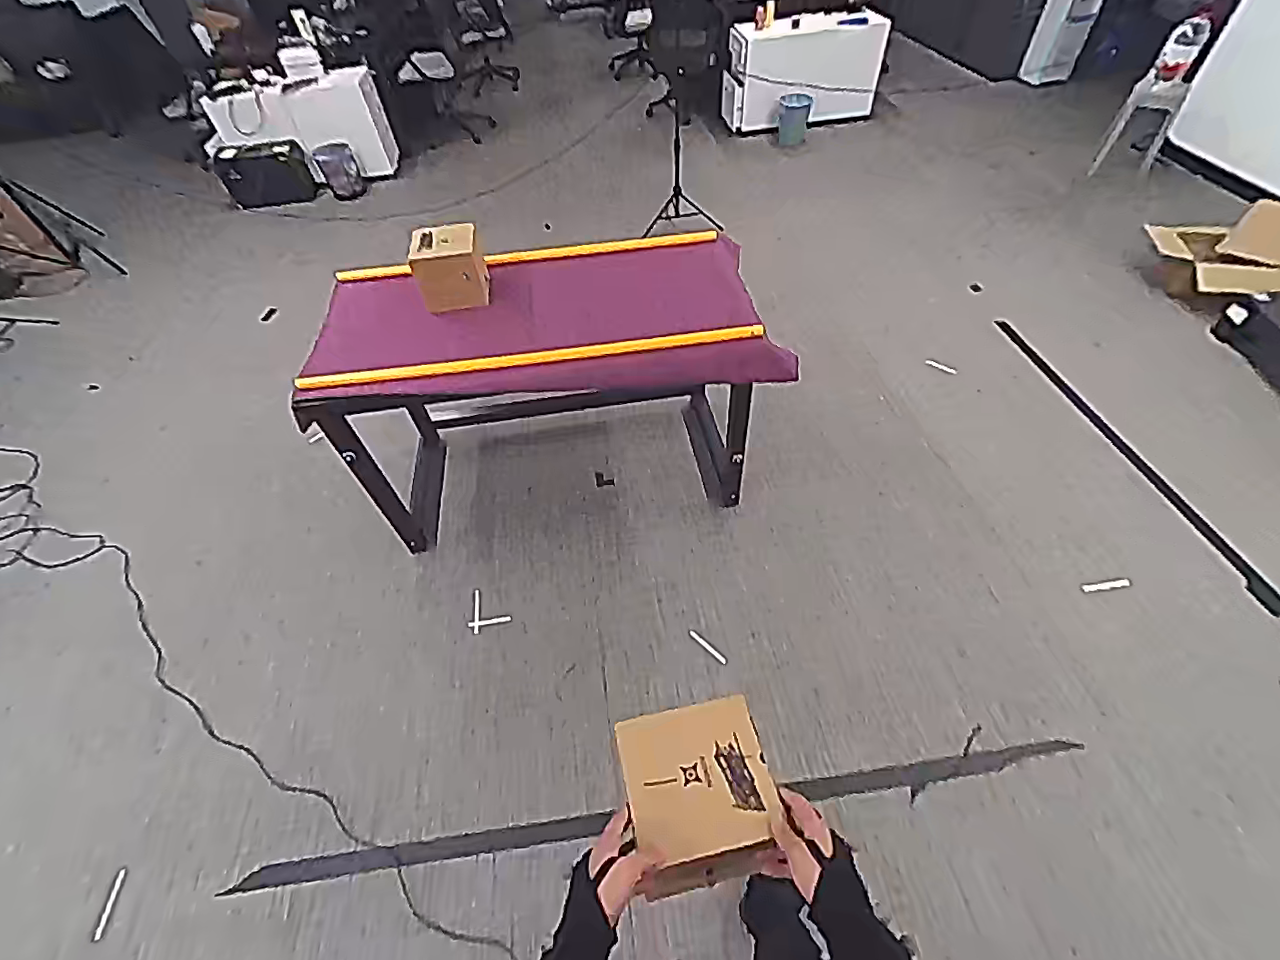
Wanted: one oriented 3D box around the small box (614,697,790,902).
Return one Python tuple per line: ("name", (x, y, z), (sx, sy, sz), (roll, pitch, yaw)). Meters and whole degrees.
("small box", (0.067, 0.407, 0.691), (0.179, 0.176, 0.168), (-10, 43, -8))
